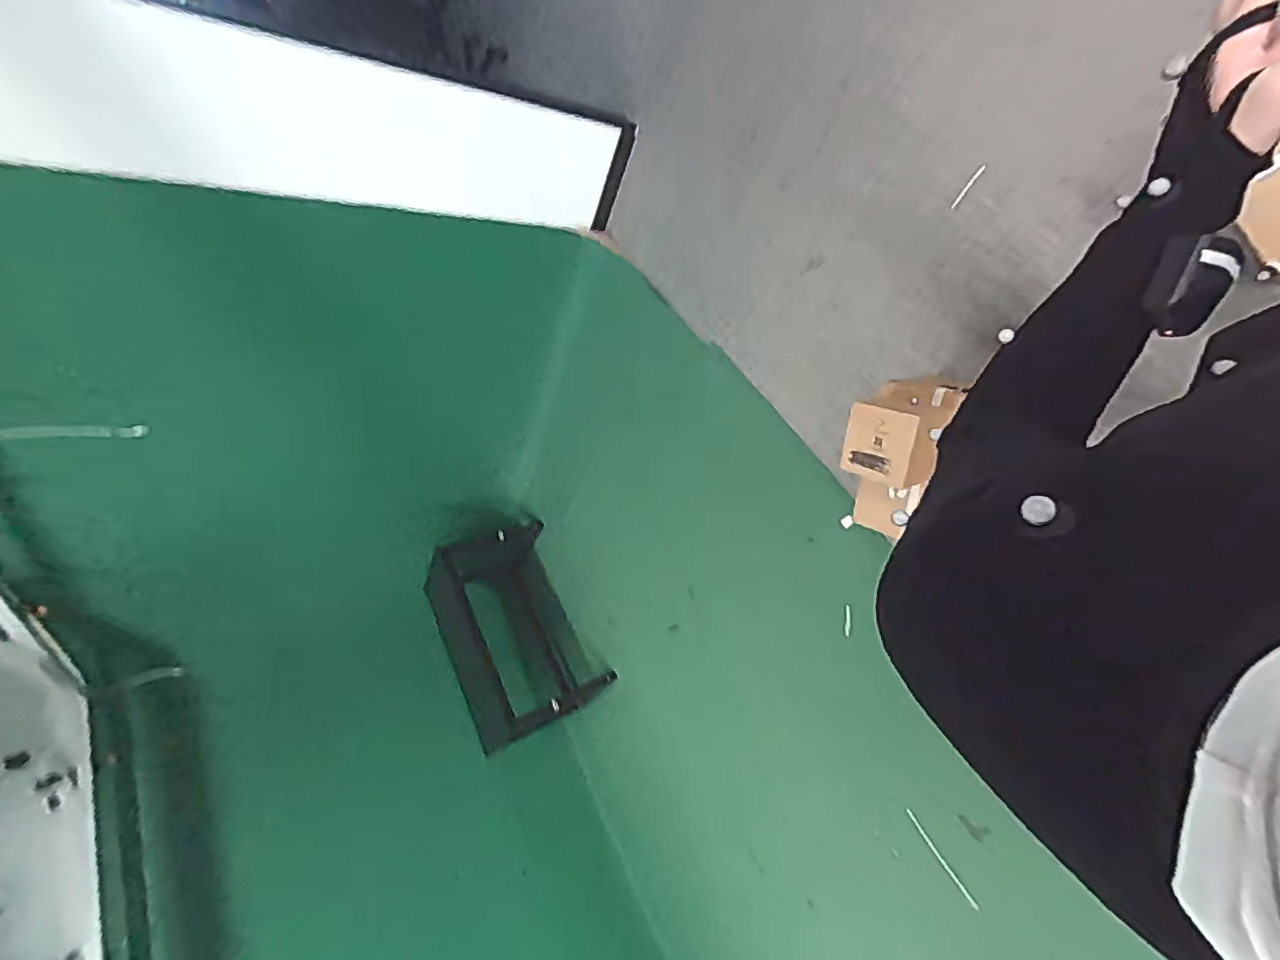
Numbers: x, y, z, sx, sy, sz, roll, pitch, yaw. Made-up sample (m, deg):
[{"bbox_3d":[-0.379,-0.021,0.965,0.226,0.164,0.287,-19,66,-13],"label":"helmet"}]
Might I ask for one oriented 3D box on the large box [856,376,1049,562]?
[{"bbox_3d":[0.829,-0.054,1.452,0.320,0.320,0.408,25,120,47],"label":"large box"}]
